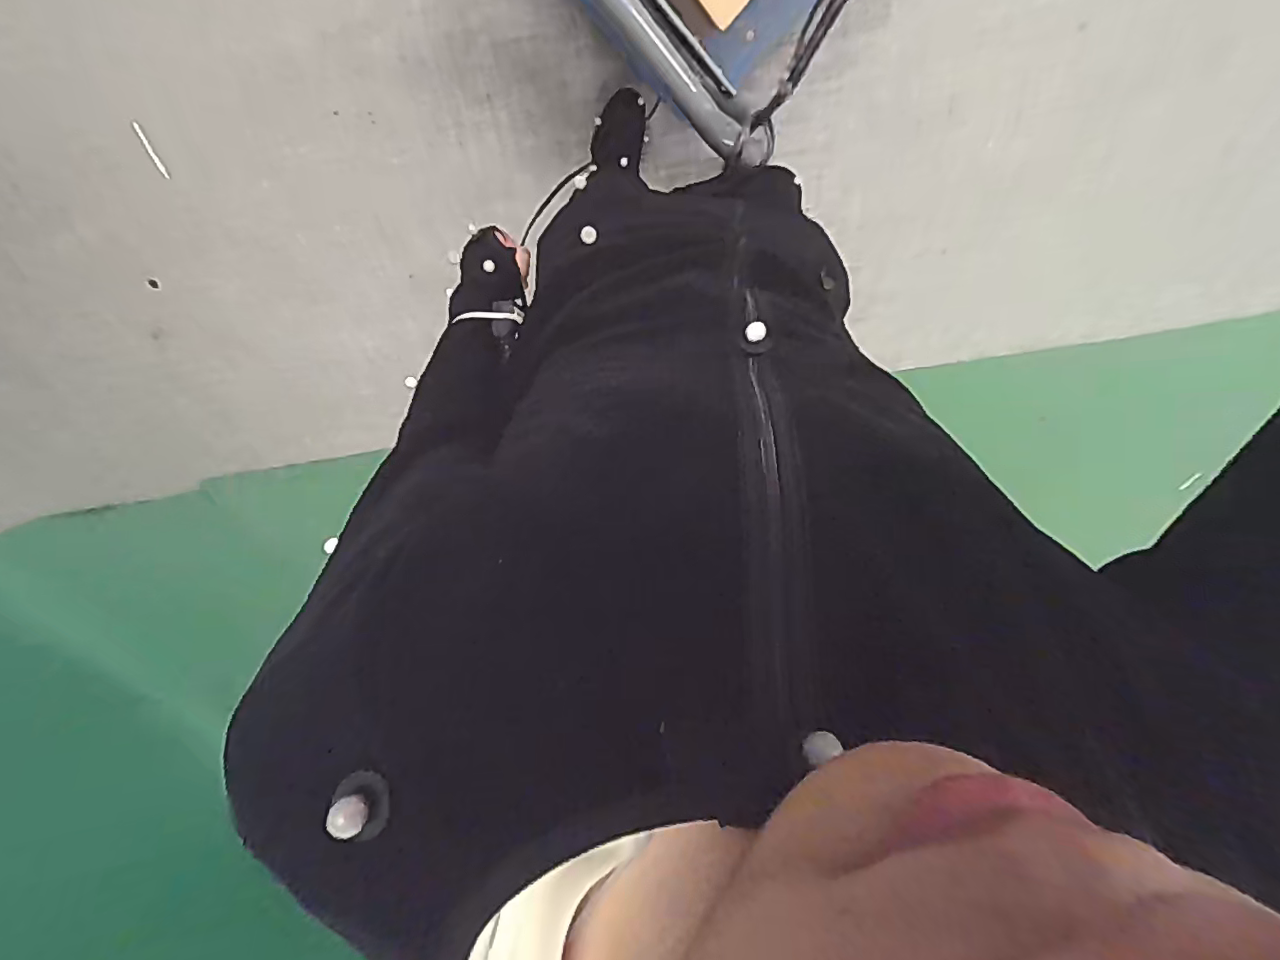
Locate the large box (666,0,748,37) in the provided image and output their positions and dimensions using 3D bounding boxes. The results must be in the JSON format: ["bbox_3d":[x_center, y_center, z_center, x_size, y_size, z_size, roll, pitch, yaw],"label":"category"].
[{"bbox_3d":[0.136,-0.946,0.757,0.320,0.320,0.408,36,116,-28],"label":"large box"}]
